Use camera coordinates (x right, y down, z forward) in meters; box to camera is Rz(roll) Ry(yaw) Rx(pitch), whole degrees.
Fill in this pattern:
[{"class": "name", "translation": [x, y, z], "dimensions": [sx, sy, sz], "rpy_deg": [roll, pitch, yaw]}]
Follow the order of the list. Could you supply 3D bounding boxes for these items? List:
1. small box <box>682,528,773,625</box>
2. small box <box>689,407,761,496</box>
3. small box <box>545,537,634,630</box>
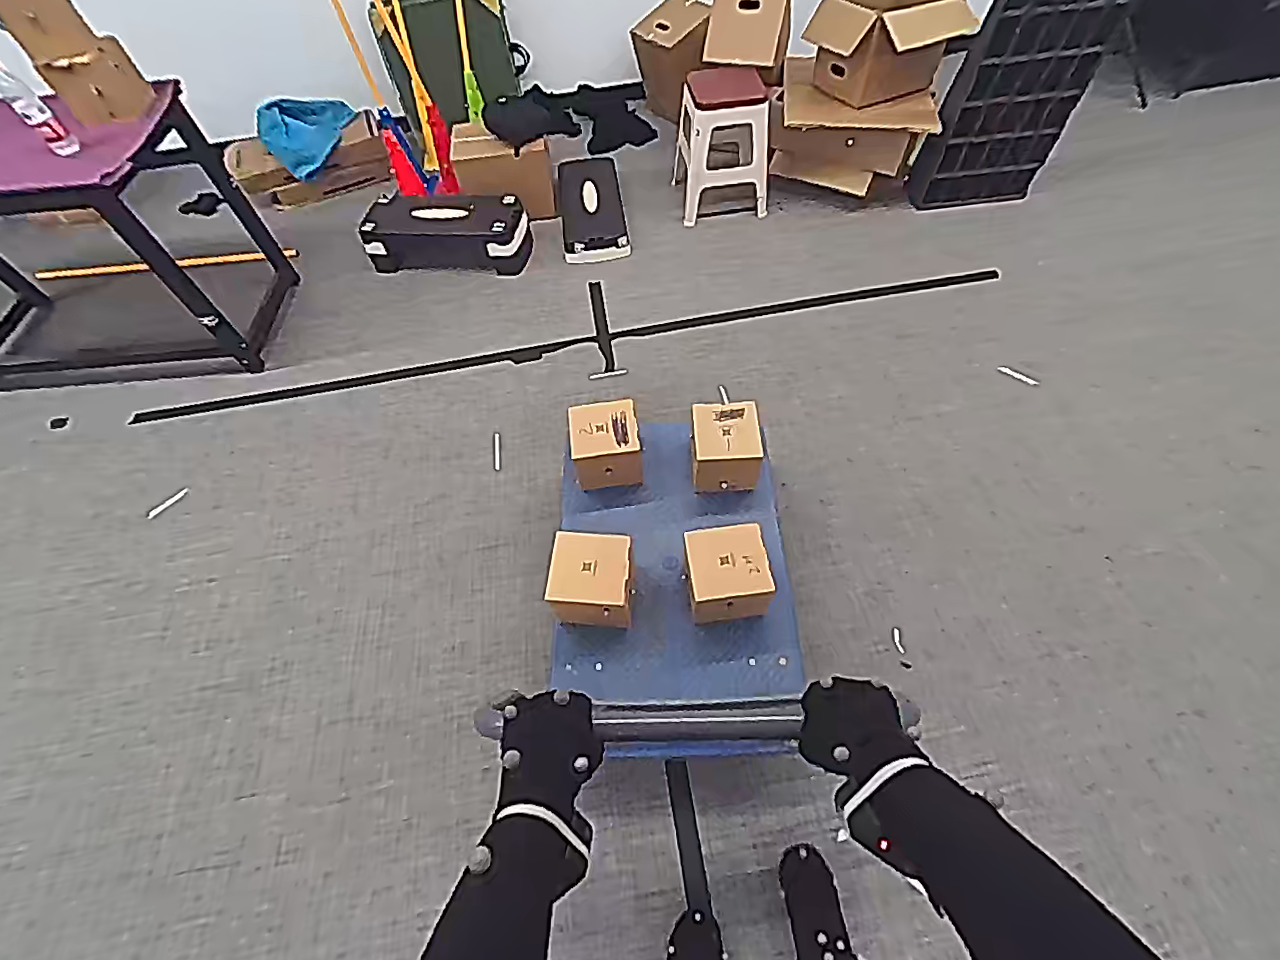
[{"class": "small box", "translation": [0.195, 0.229, 1.259], "dimensions": [0.179, 0.176, 0.168], "rpy_deg": [-7, 59, -1]}, {"class": "small box", "translation": [0.220, -0.074, 1.440], "dimensions": [0.168, 0.176, 0.179], "rpy_deg": [-3, 60, 2]}, {"class": "small box", "translation": [-0.111, 0.246, 1.269], "dimensions": [0.179, 0.176, 0.168], "rpy_deg": [3, 59, 3]}]
